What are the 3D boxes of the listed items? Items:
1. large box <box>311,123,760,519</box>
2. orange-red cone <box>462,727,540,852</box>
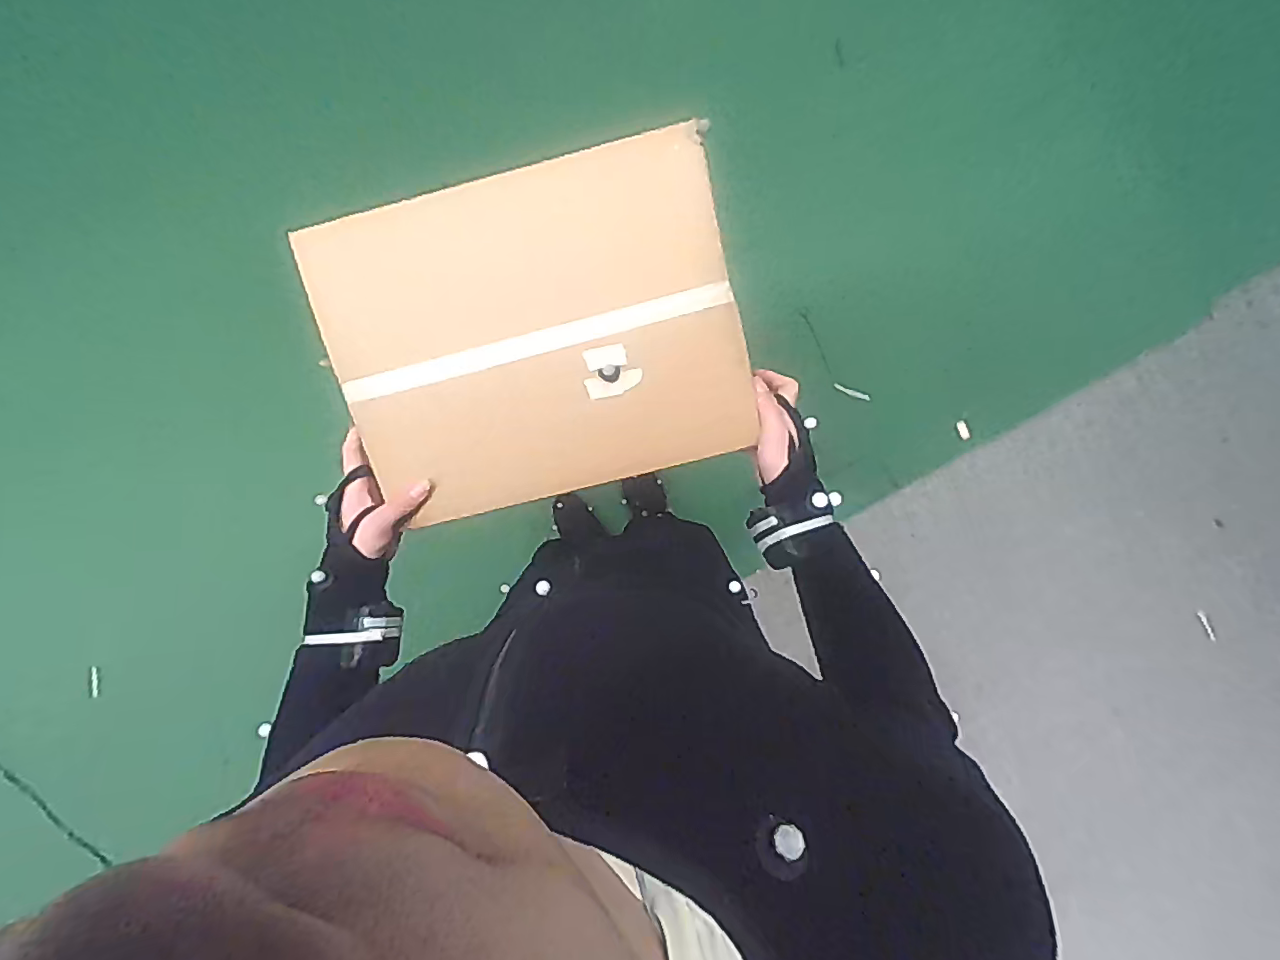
[{"bbox_3d":[-0.101,-0.176,0.697,0.408,0.320,0.320,-13,102,3],"label":"large box"},{"bbox_3d":[-0.413,0.868,1.463,0.199,0.360,0.198,-21,92,-1],"label":"orange-red cone"}]
